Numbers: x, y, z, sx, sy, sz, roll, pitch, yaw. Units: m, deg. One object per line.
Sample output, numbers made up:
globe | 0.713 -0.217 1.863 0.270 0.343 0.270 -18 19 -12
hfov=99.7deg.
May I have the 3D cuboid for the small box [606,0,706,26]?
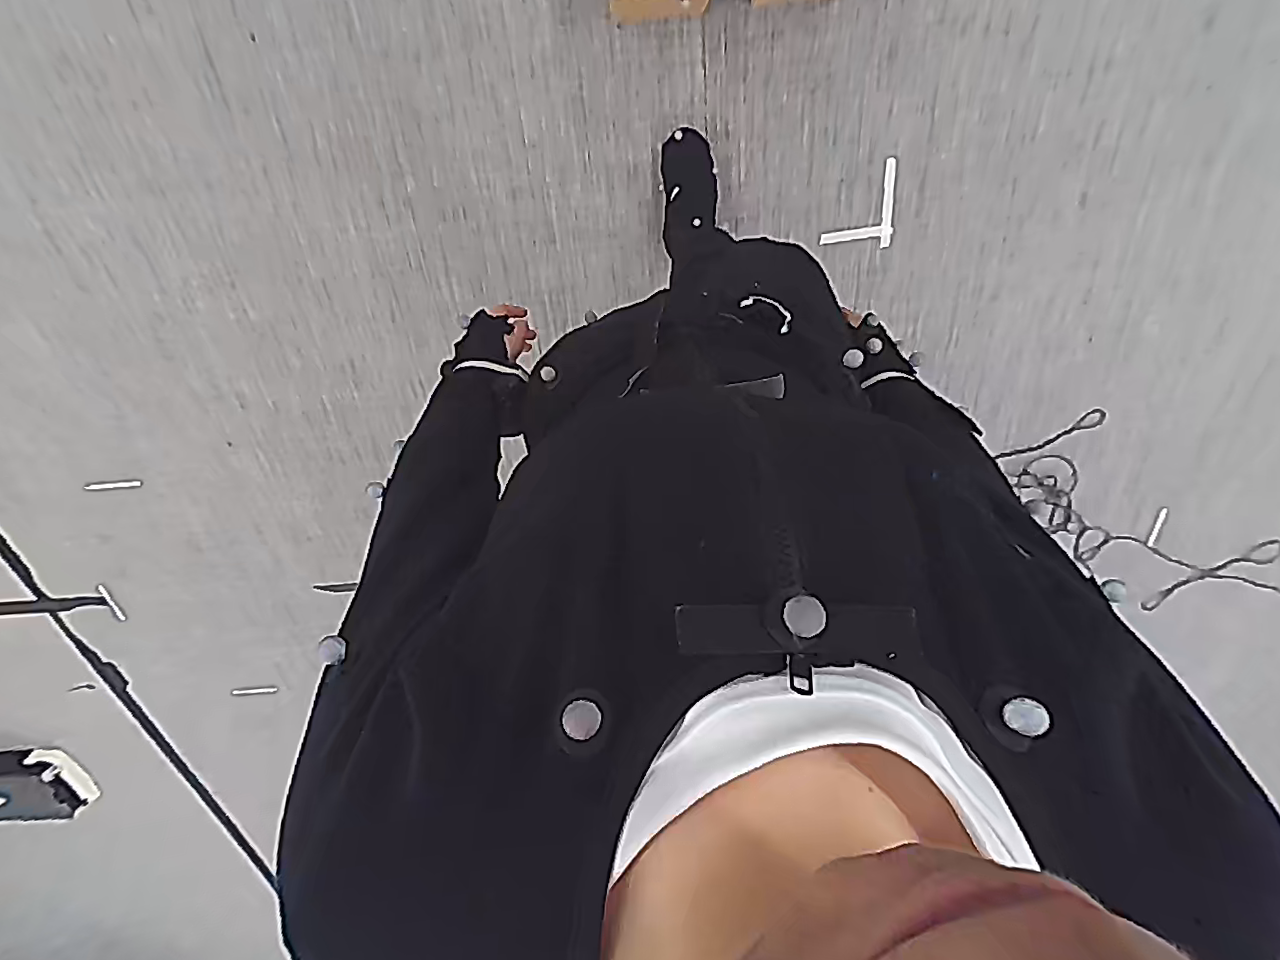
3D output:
small box | 0.024 -0.889 0.903 0.179 0.176 0.168 -5 118 1
